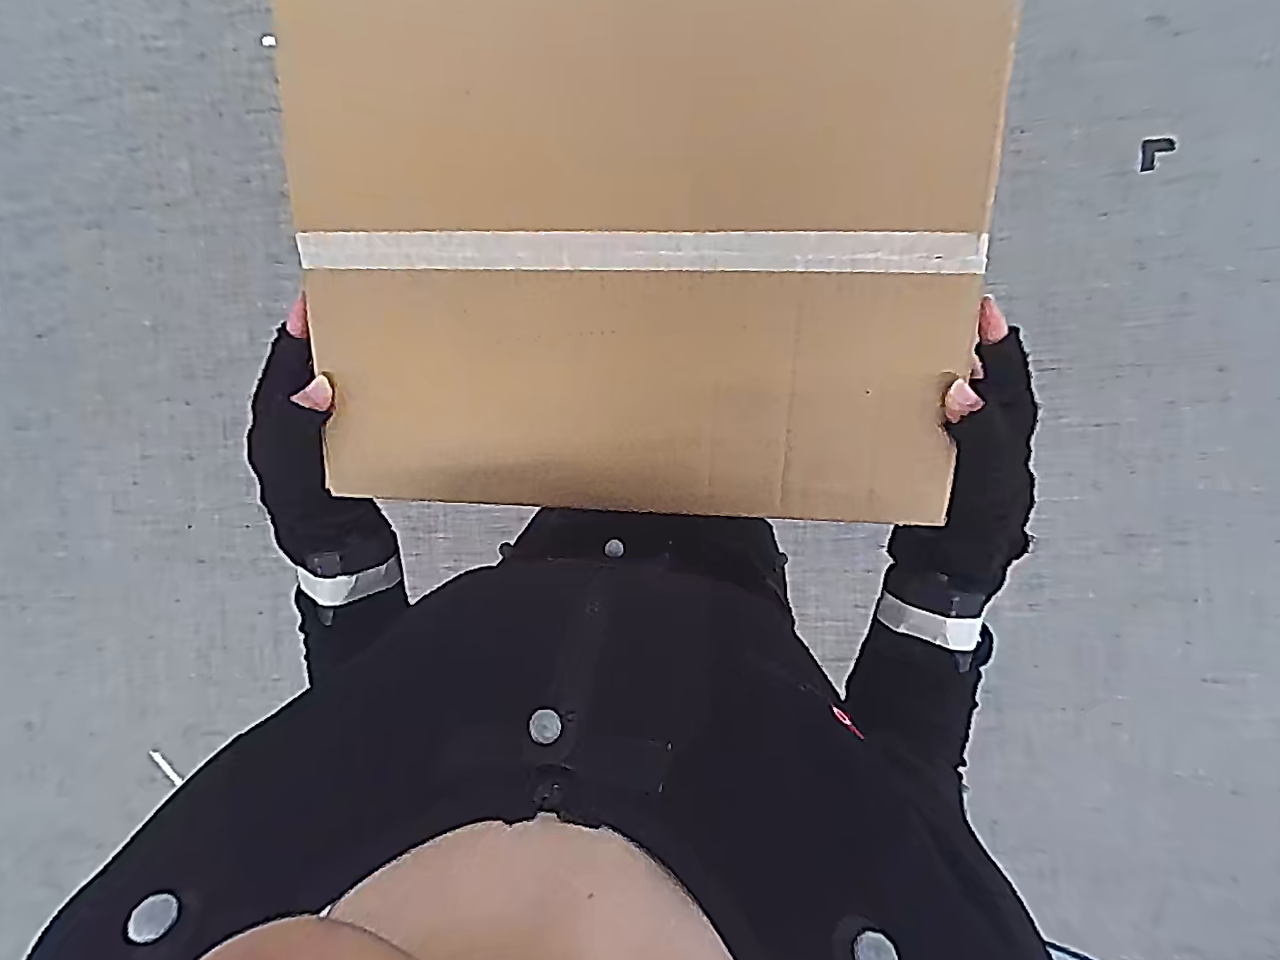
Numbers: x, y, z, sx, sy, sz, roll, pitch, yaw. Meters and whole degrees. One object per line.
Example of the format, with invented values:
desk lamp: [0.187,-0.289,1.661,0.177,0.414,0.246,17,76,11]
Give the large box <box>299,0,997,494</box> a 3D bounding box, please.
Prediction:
large box: [0.005,-0.176,0.477,0.408,0.320,0.320,2,103,5]
